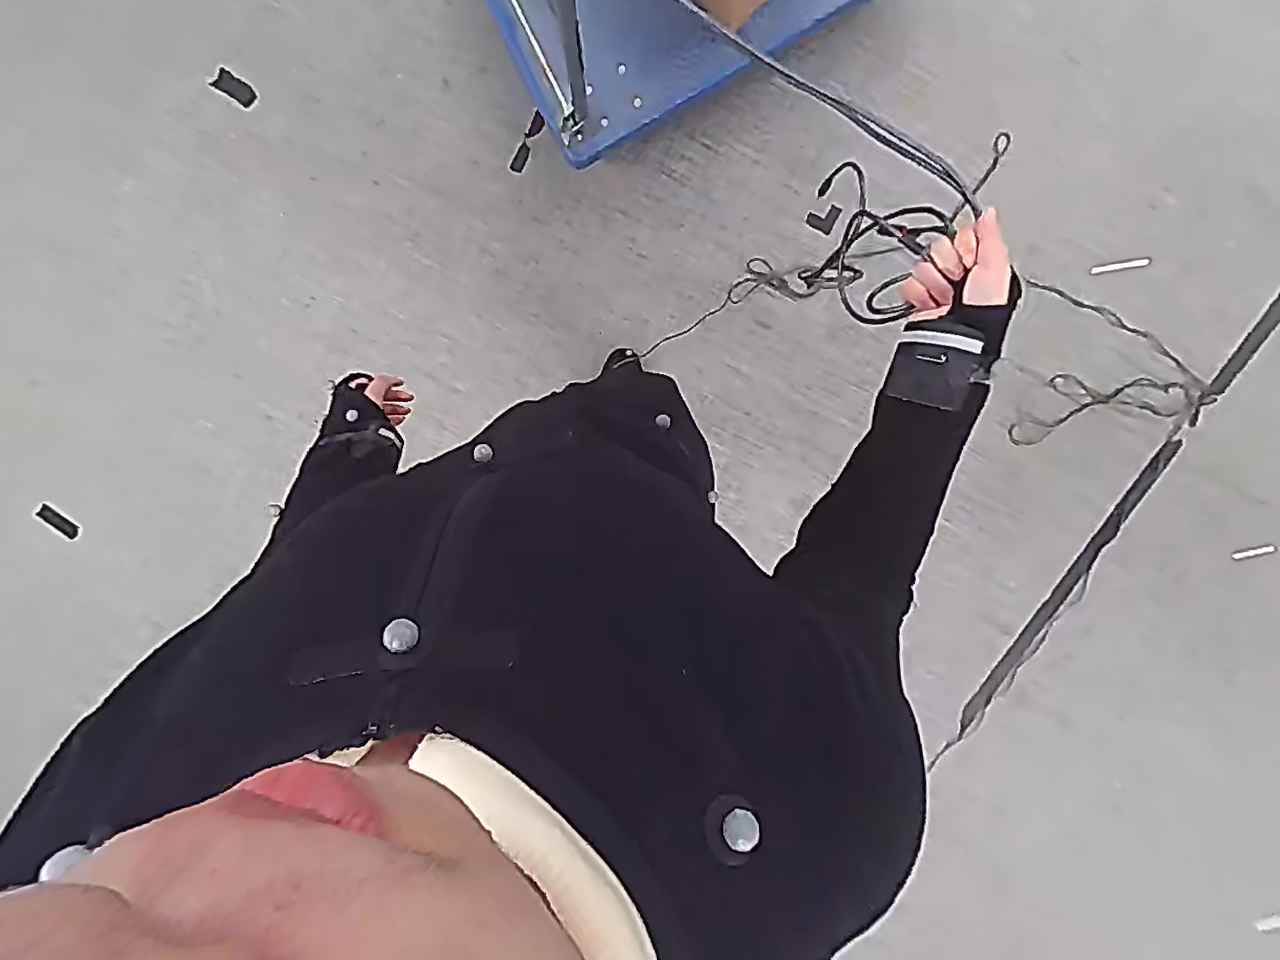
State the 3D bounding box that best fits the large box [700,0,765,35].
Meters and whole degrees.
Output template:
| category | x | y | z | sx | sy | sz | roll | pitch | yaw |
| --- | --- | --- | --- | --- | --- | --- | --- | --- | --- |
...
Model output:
| category | x | y | z | sx | sy | sz | roll | pitch | yaw |
| --- | --- | --- | --- | --- | --- | --- | --- | --- | --- |
| large box | 0.157 | -1.114 | 0.911 | 0.320 | 0.320 | 0.408 | -41 | 100 | 10 |
